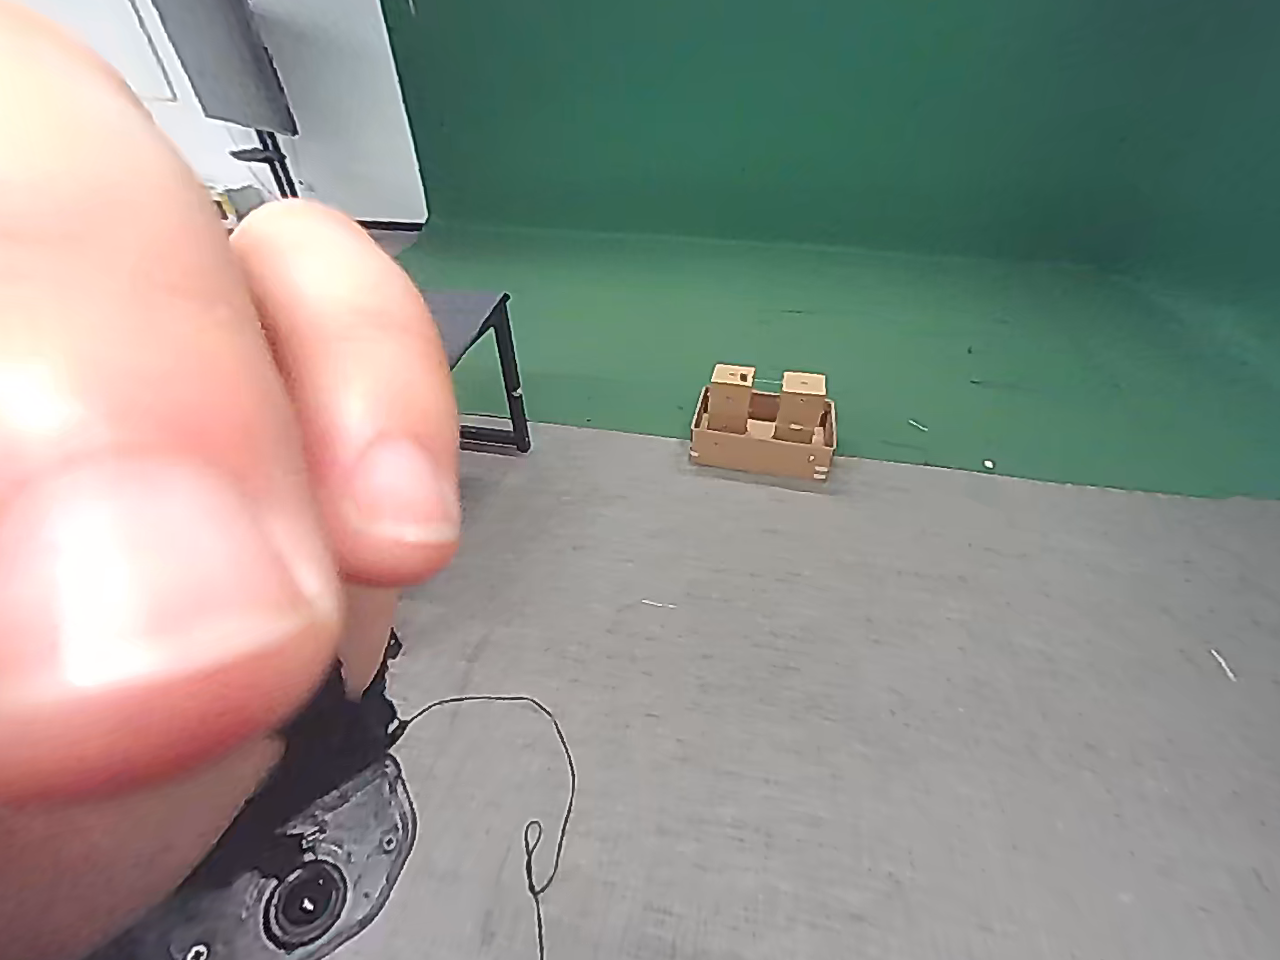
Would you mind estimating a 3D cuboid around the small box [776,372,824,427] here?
[{"bbox_3d":[0.686,-0.346,2.332,0.179,0.176,0.168,8,42,10],"label":"small box"}]

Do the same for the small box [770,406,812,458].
[{"bbox_3d":[0.681,-0.217,2.432,0.168,0.176,0.179,9,42,12],"label":"small box"}]

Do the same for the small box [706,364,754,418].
[{"bbox_3d":[0.395,-0.390,2.382,0.179,0.176,0.168,9,41,11],"label":"small box"}]
